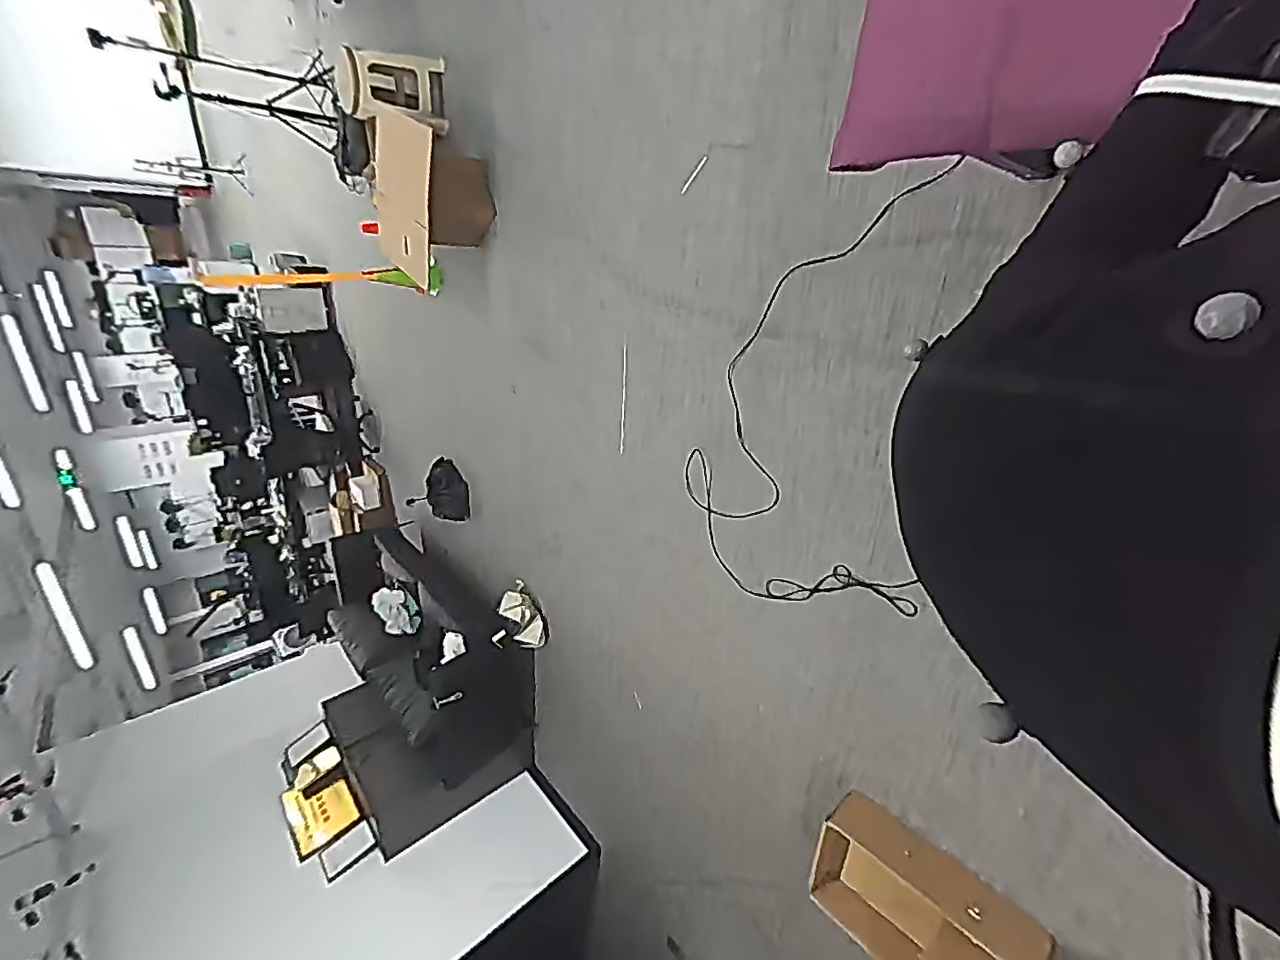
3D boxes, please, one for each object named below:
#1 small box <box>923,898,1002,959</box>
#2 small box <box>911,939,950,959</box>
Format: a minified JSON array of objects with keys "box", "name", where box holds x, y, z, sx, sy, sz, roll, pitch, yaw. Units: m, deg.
[{"box":[0.939,1.410,1.602,0.168,0.176,0.179,26,123,42],"name":"small box"},{"box":[0.817,1.452,1.502,0.168,0.176,0.179,25,123,43],"name":"small box"}]
